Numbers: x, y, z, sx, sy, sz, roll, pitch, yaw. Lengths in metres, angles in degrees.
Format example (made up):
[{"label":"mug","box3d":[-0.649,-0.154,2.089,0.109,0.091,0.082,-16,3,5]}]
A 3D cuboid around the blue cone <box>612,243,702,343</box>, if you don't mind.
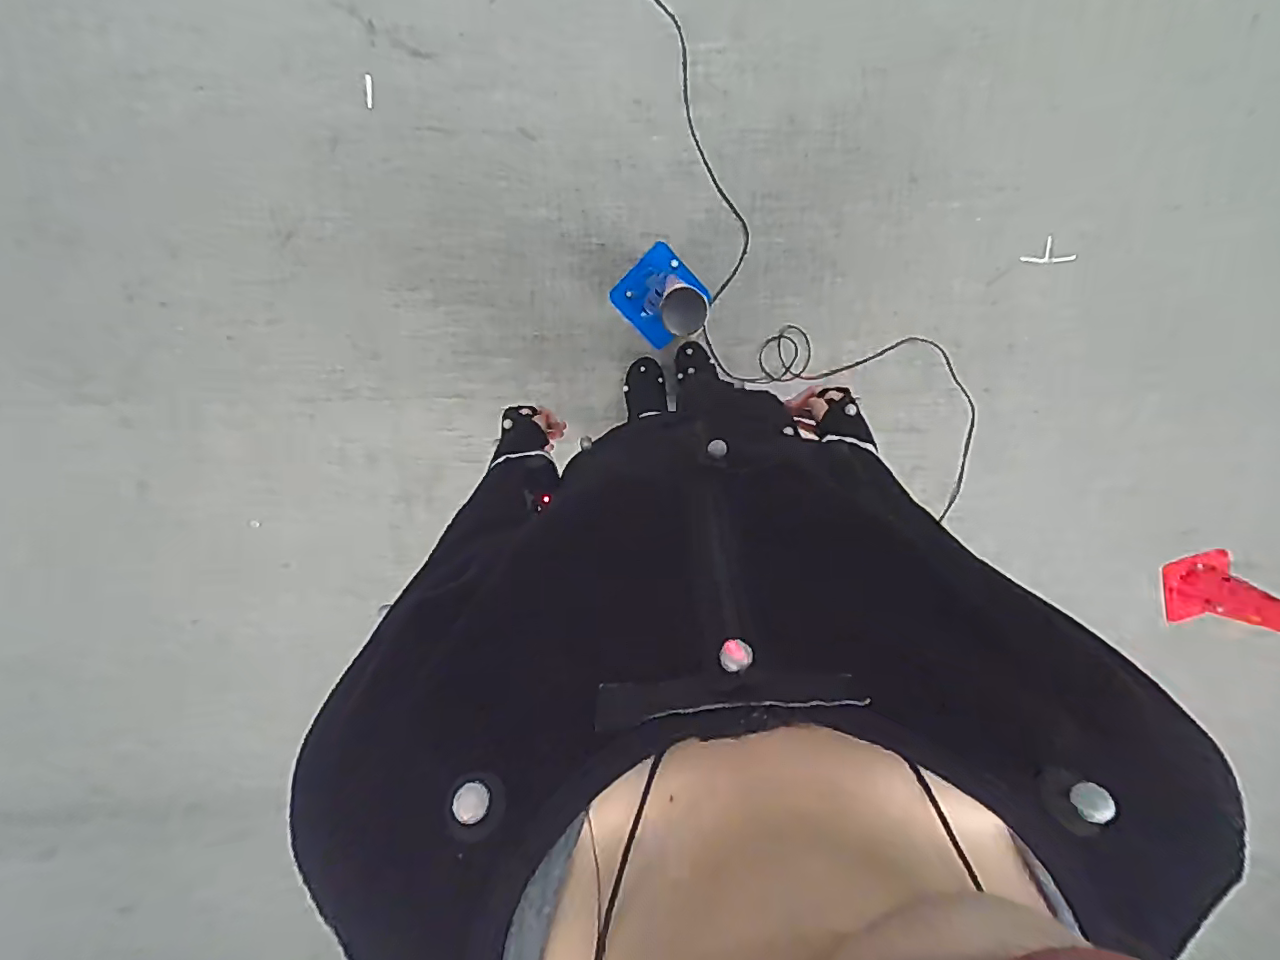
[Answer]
[{"label":"blue cone","box3d":[0.049,-0.429,1.215,0.192,0.380,0.193,43,100,-11]}]
